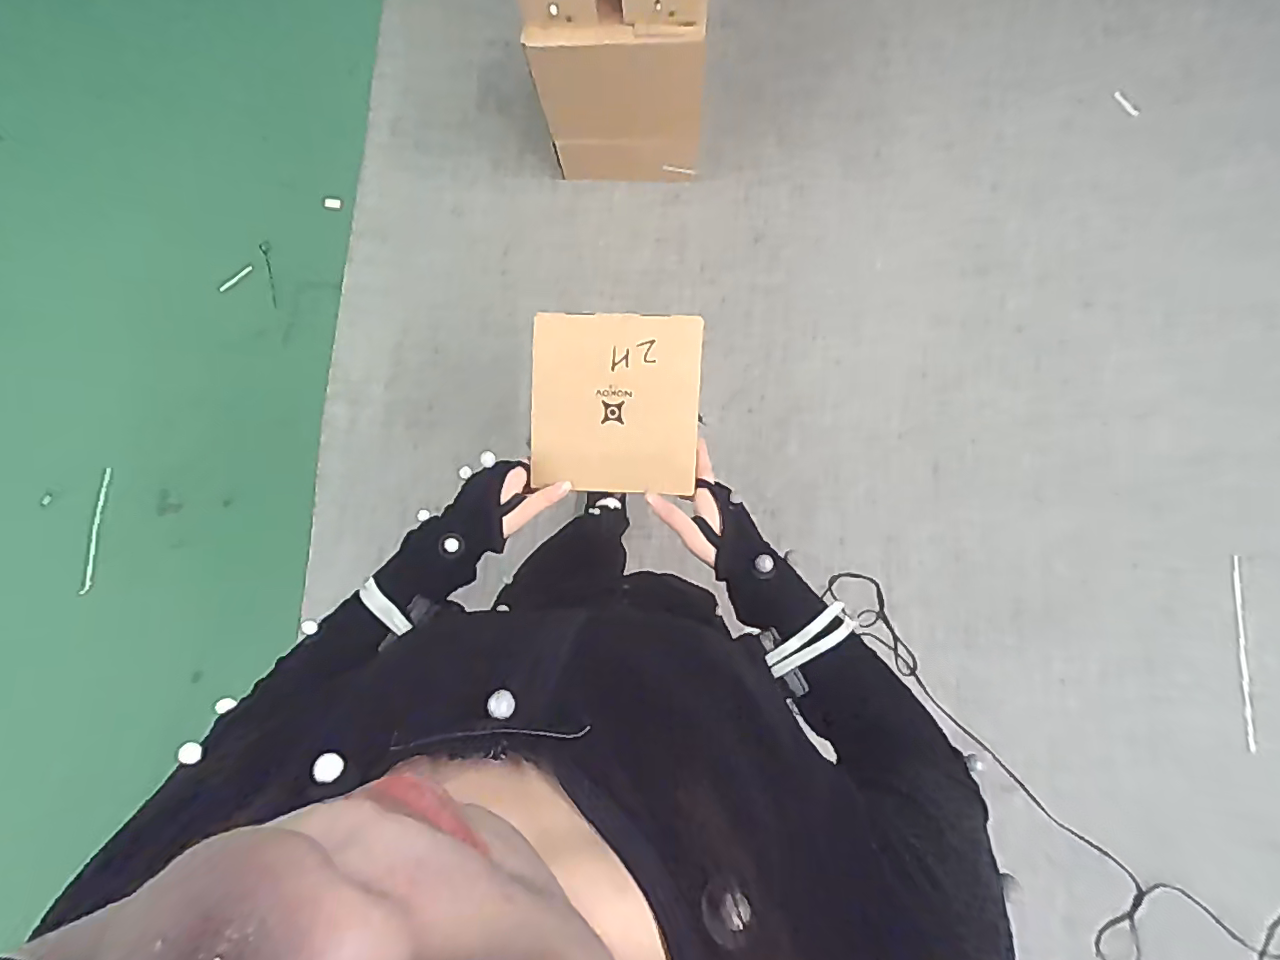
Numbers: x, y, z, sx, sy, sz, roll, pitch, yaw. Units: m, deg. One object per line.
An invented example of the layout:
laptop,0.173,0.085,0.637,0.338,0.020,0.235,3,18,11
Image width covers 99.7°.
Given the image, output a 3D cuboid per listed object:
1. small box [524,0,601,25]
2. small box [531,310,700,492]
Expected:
small box,-0.167,-1.101,1.117,0.168,0.176,0.179,4,86,2
small box,-0.019,-0.086,0.619,0.168,0.176,0.179,3,94,5
